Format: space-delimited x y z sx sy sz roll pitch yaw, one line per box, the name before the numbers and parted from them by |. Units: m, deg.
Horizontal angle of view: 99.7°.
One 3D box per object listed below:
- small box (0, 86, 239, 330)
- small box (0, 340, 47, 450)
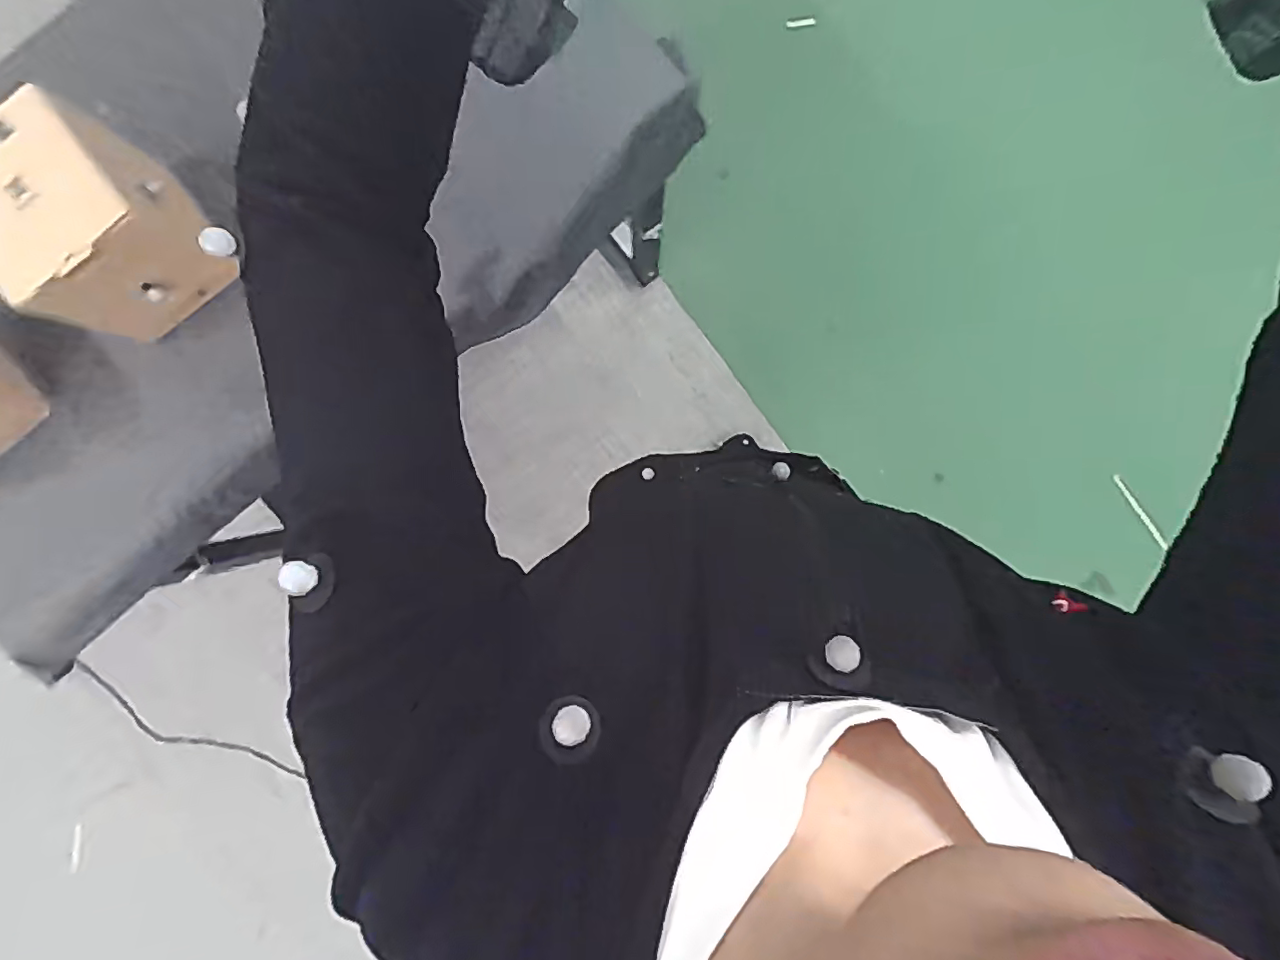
small box | -0.646 -0.301 0.650 0.168 0.176 0.179 -38 91 1
small box | -0.911 -0.103 0.655 0.179 0.176 0.168 -40 91 0
